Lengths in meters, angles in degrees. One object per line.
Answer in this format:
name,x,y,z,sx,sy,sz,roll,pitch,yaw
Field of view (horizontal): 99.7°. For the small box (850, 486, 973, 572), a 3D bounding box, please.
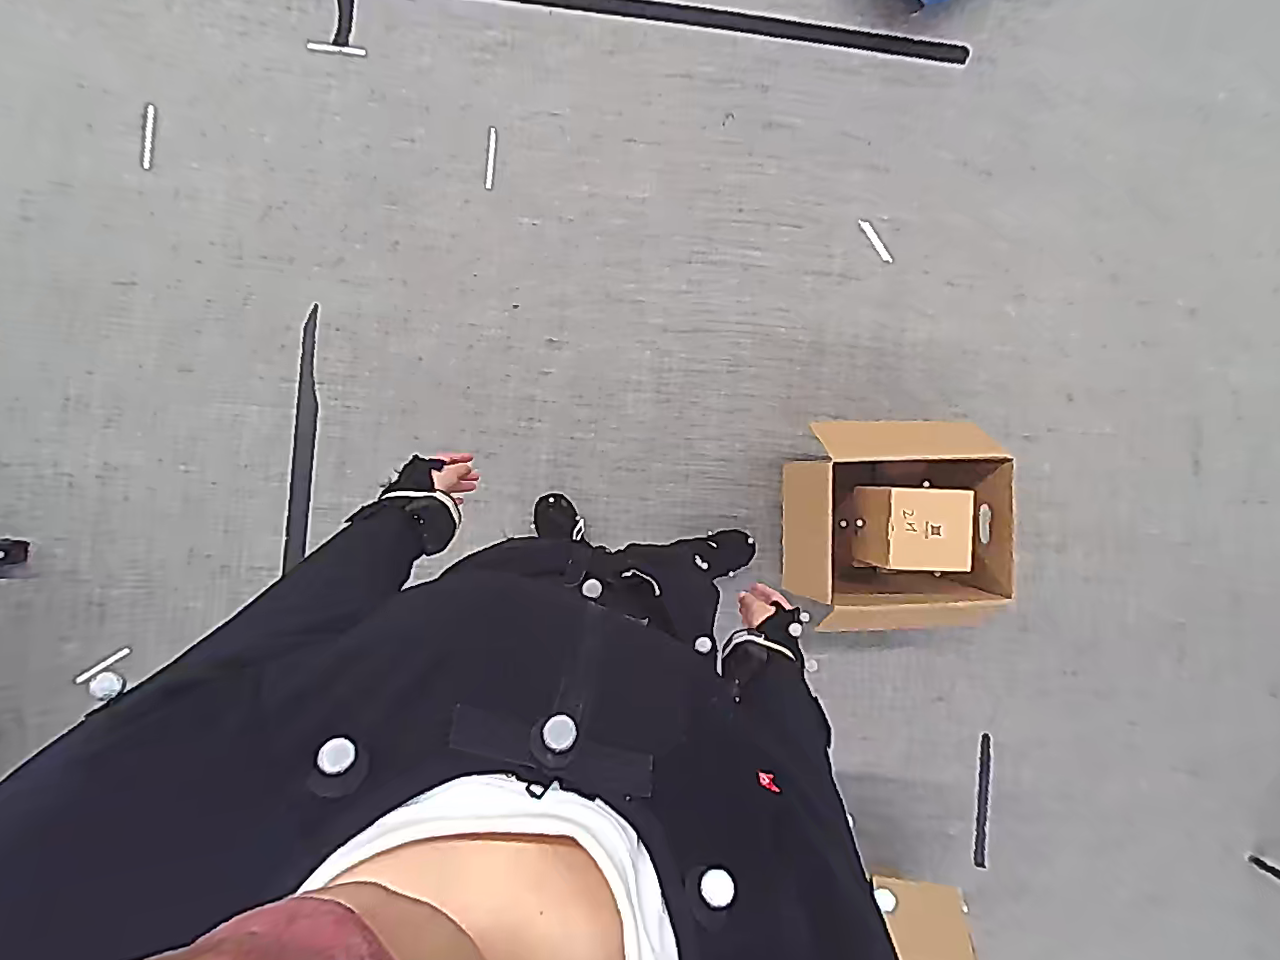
small box,0.579,0.100,1.169,0.179,0.176,0.168,3,89,-4
